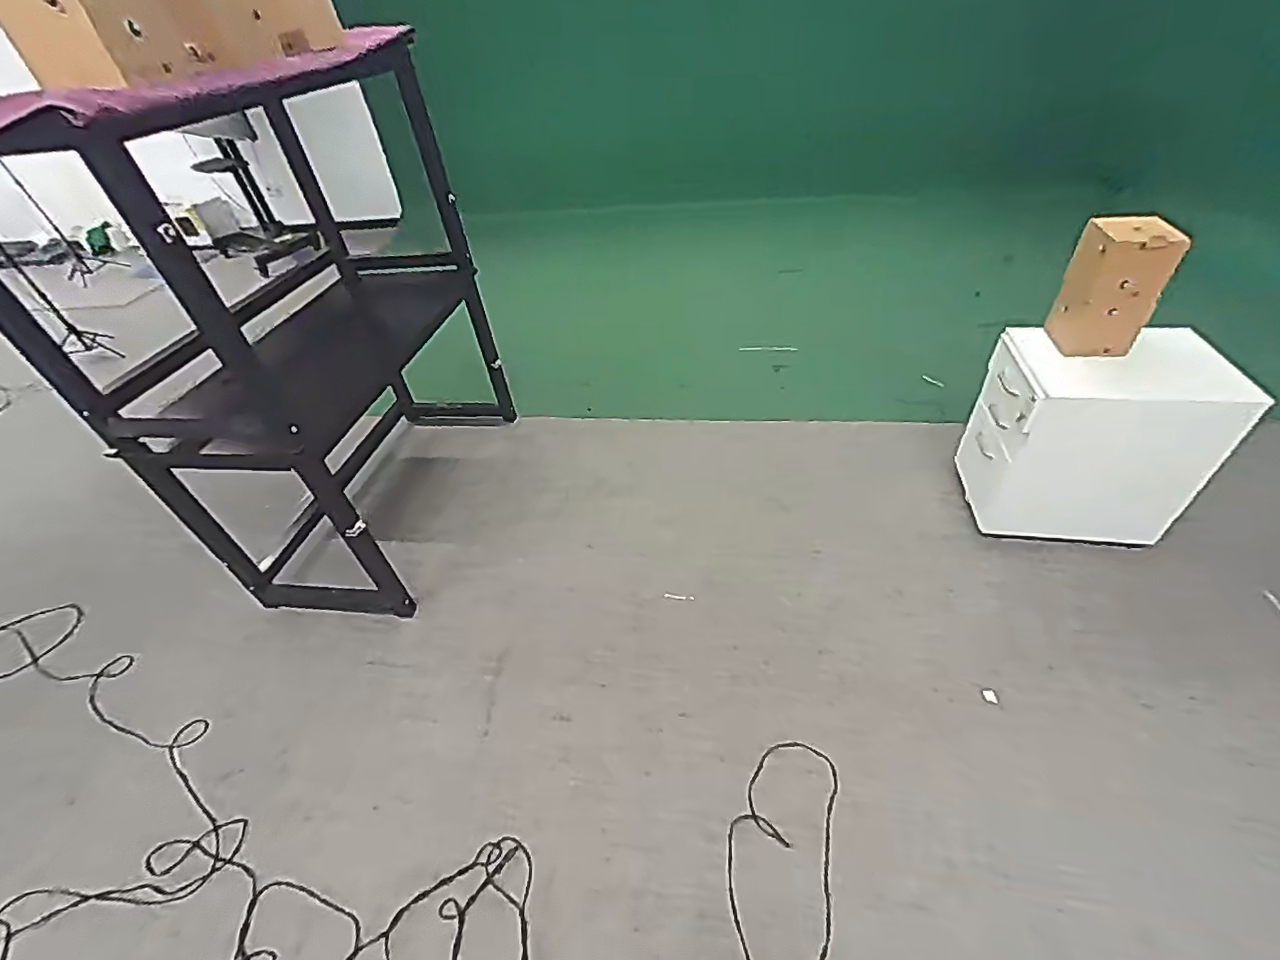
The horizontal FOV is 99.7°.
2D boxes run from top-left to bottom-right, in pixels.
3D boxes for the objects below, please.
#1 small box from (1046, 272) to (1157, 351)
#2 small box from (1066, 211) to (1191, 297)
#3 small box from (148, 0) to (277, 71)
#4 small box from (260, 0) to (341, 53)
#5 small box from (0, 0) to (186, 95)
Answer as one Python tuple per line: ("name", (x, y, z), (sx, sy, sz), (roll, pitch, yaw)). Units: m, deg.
("small box", (1.331, -0.494, 1.577), (0.168, 0.176, 0.179), (3, 44, 11))
("small box", (1.310, -0.615, 1.470), (0.168, 0.176, 0.179), (3, 45, 10))
("small box", (-0.958, -1.030, 1.205), (0.168, 0.176, 0.179), (0, 44, 9))
("small box", (-0.940, -1.254, 1.438), (0.168, 0.176, 0.179), (1, 44, 12))
("small box", (-0.973, -0.799, 0.953), (0.179, 0.176, 0.168), (0, 42, 8))
